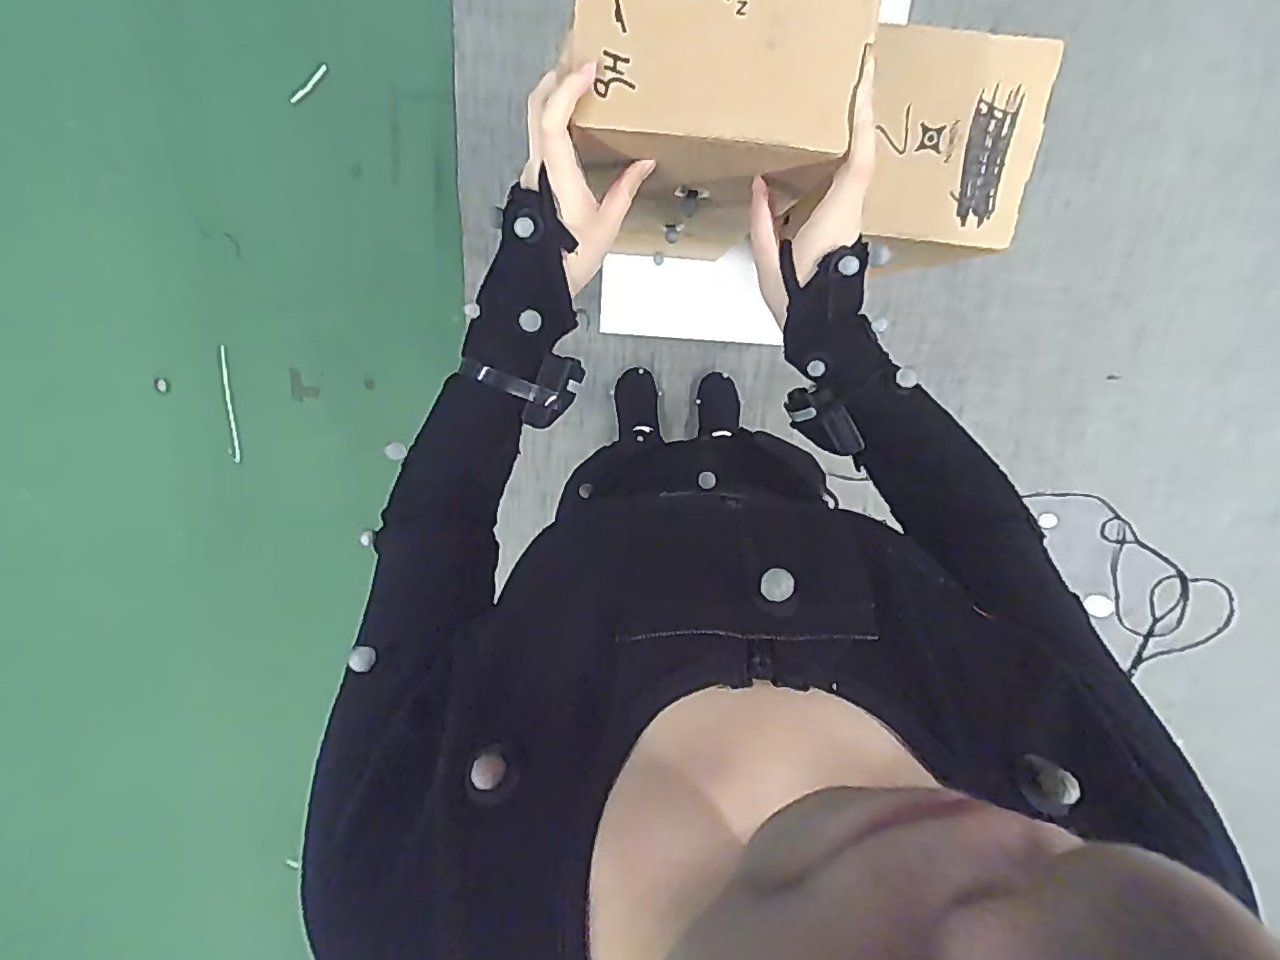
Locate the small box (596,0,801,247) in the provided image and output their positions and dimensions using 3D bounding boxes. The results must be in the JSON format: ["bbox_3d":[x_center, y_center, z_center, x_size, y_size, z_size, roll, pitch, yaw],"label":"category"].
[{"bbox_3d":[0.048,-0.352,0.550,0.168,0.176,0.179,5,105,-1],"label":"small box"}]

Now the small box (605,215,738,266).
[{"bbox_3d":[0.044,-0.389,0.710,0.168,0.176,0.179,4,106,-1],"label":"small box"}]

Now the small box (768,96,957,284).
[{"bbox_3d":[0.275,-0.366,0.714,0.168,0.176,0.179,6,105,0],"label":"small box"}]
